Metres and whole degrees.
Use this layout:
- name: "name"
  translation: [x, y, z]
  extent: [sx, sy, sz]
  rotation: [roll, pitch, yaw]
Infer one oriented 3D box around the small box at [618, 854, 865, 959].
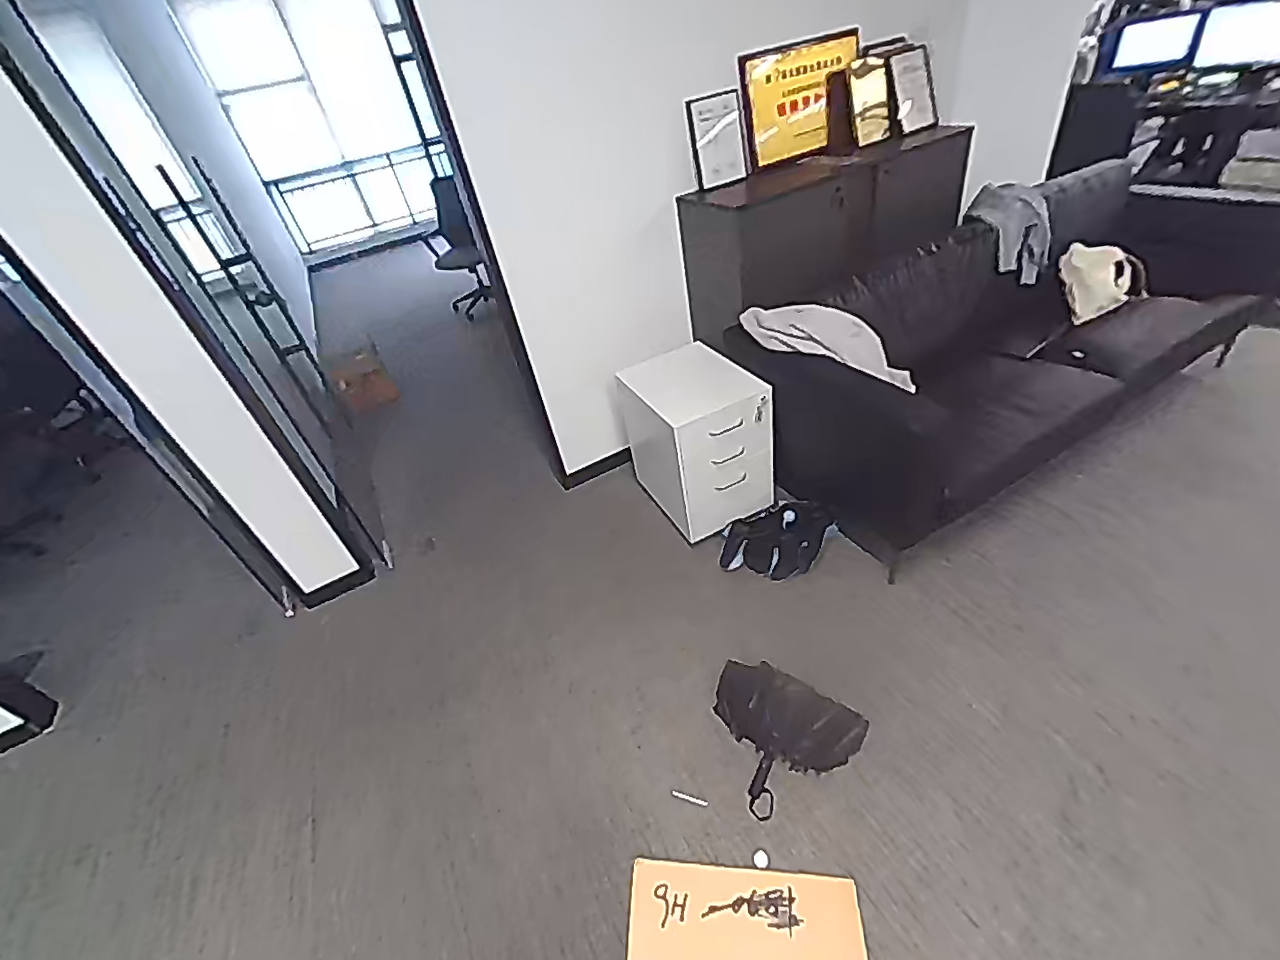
- name: "small box"
  translation: [0.063, 0.400, 0.397]
  extent: [0.168, 0.176, 0.179]
  rotation: [6, 47, 1]
